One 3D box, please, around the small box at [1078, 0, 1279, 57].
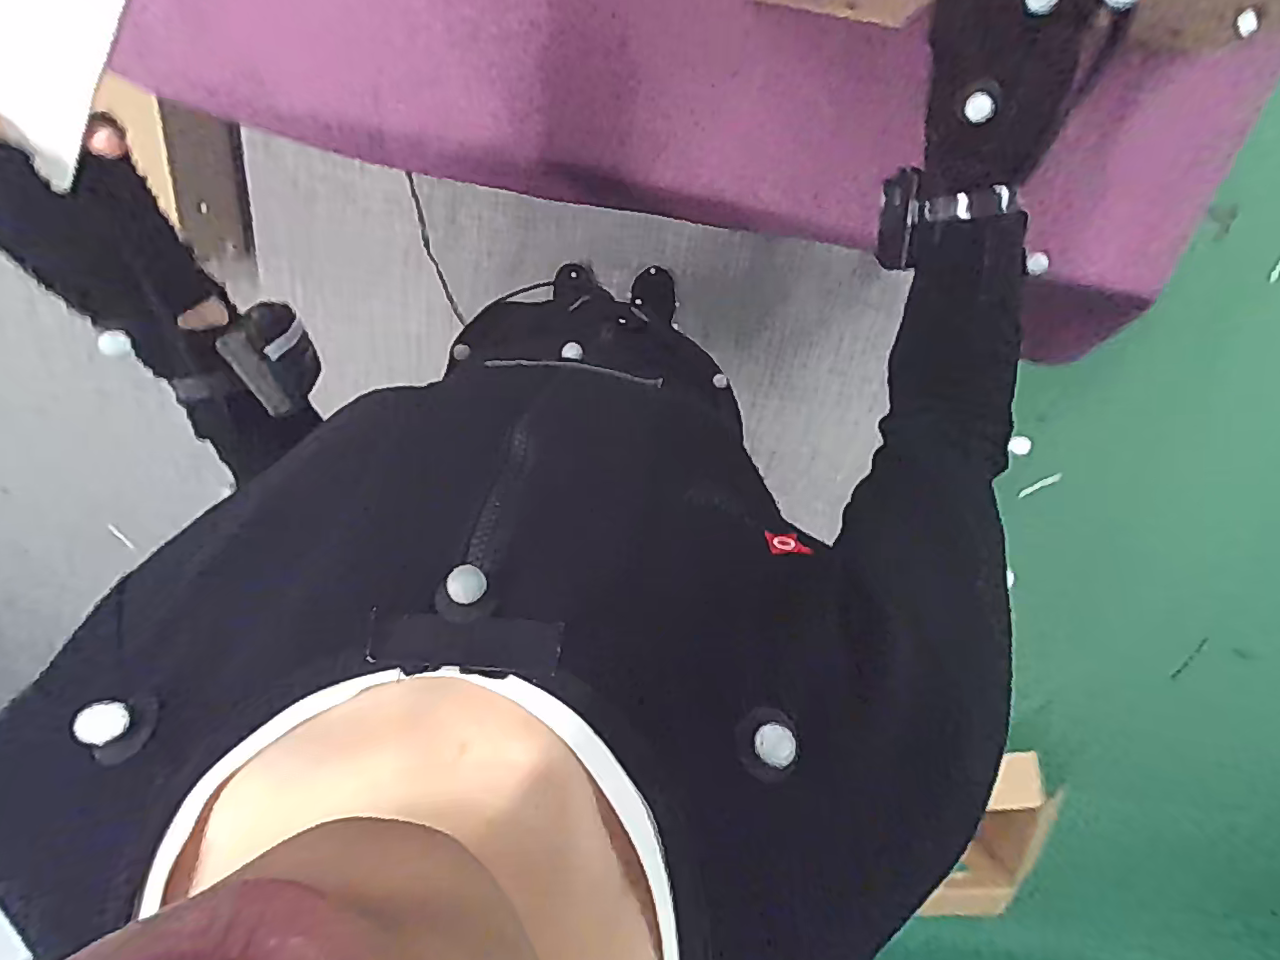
[{"bbox_3d":[0.520,-0.492,0.448,0.168,0.176,0.179,11,113,-5],"label":"small box"}]
